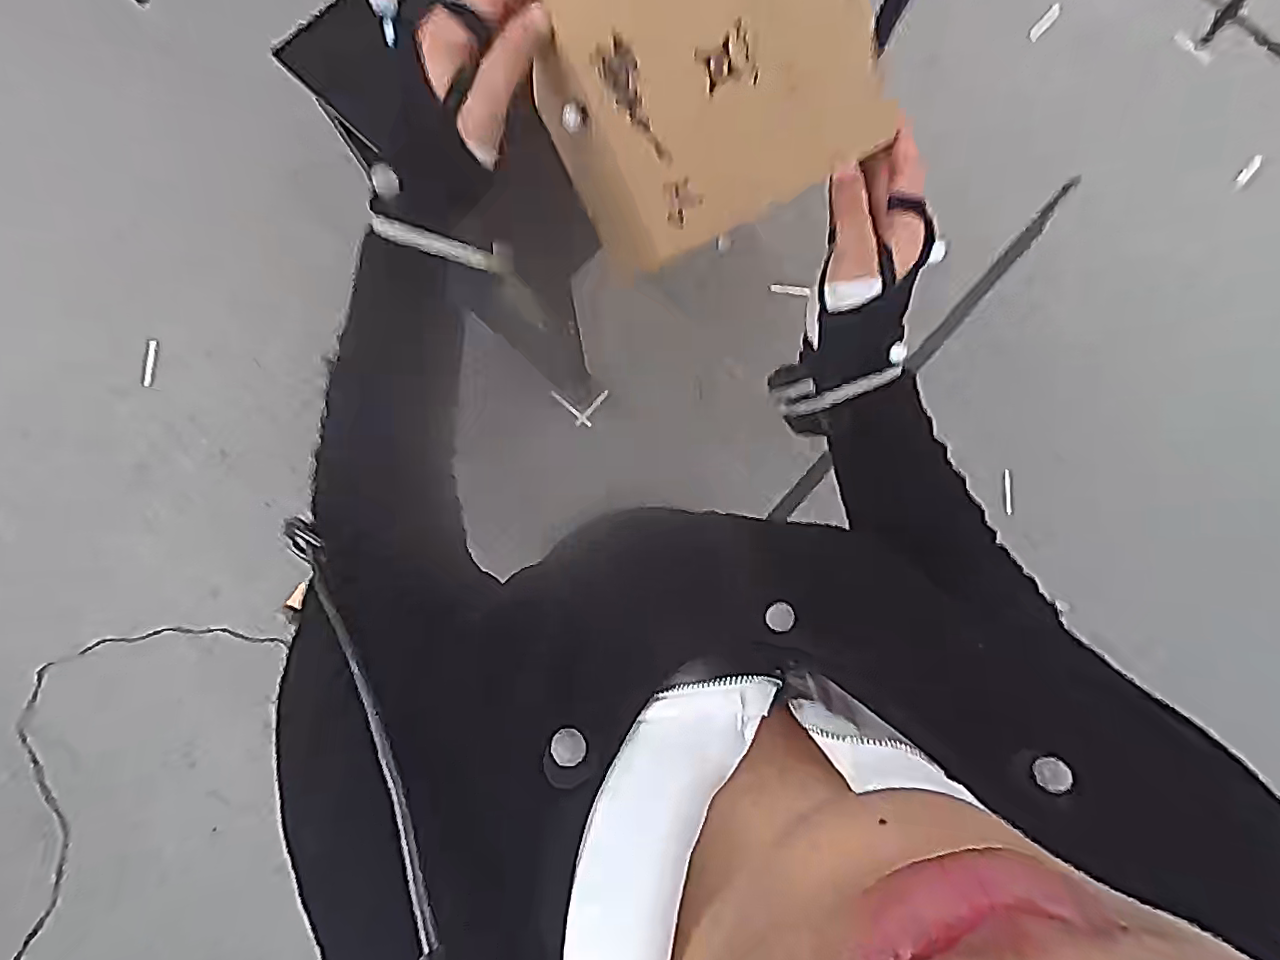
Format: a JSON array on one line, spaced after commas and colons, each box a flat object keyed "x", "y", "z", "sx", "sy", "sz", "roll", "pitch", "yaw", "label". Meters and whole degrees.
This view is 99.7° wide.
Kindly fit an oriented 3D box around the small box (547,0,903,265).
[{"x": 0.044, "y": -0.278, "z": 0.393, "sx": 0.179, "sy": 0.176, "sz": 0.168, "roll": -29, "pitch": 108, "yaw": -2, "label": "small box"}]
